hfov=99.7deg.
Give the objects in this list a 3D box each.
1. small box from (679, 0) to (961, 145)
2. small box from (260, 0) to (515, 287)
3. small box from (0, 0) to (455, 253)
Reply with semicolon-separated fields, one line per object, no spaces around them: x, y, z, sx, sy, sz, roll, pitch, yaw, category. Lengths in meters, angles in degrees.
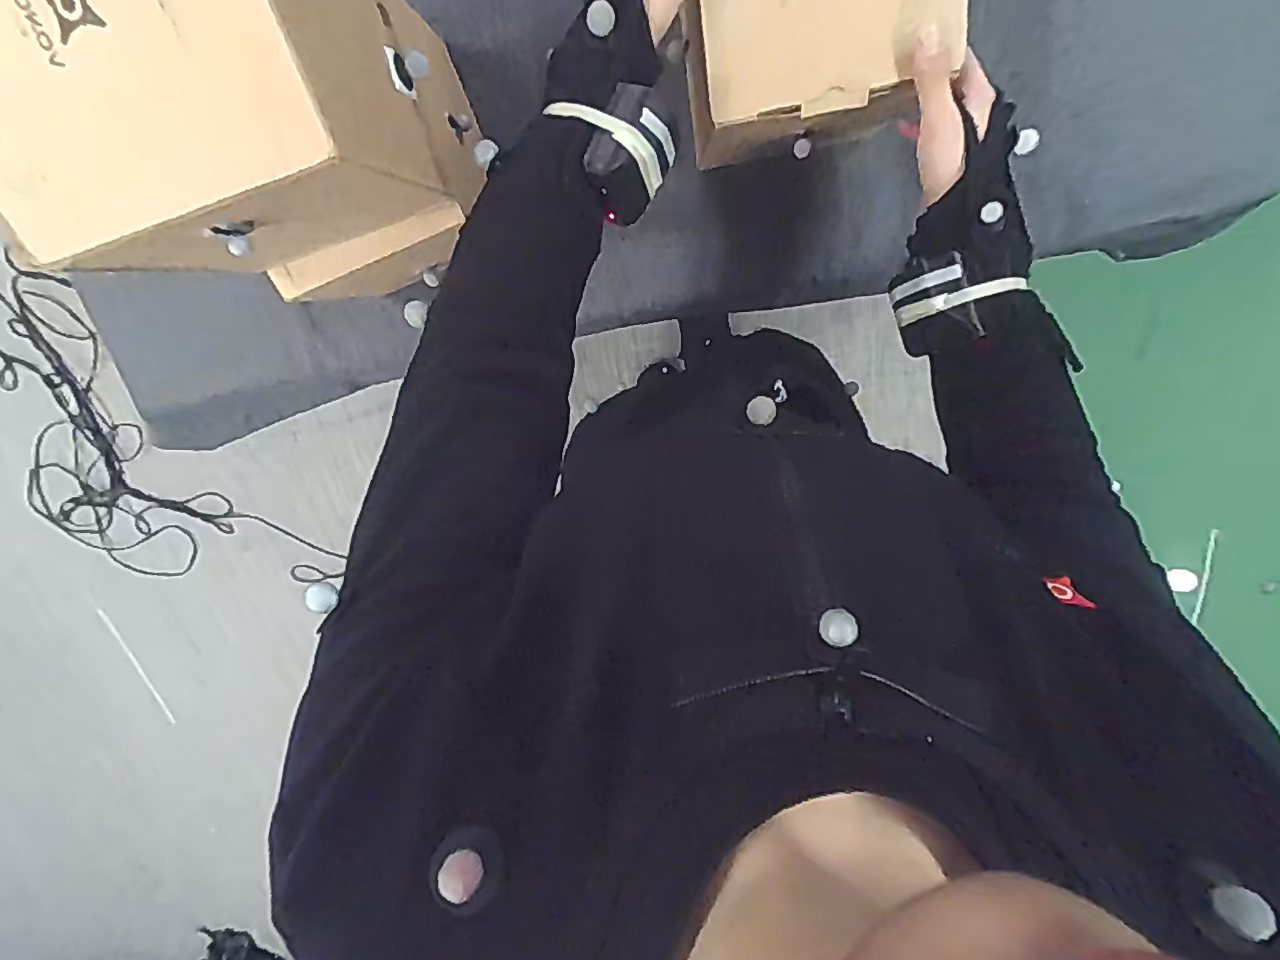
0.117;-0.368;0.402;0.168;0.176;0.179;-9;112;6;small box
-0.228;-0.277;0.453;0.168;0.176;0.179;-19;110;10;small box
-0.234;-0.231;0.296;0.179;0.176;0.168;-15;112;7;small box
